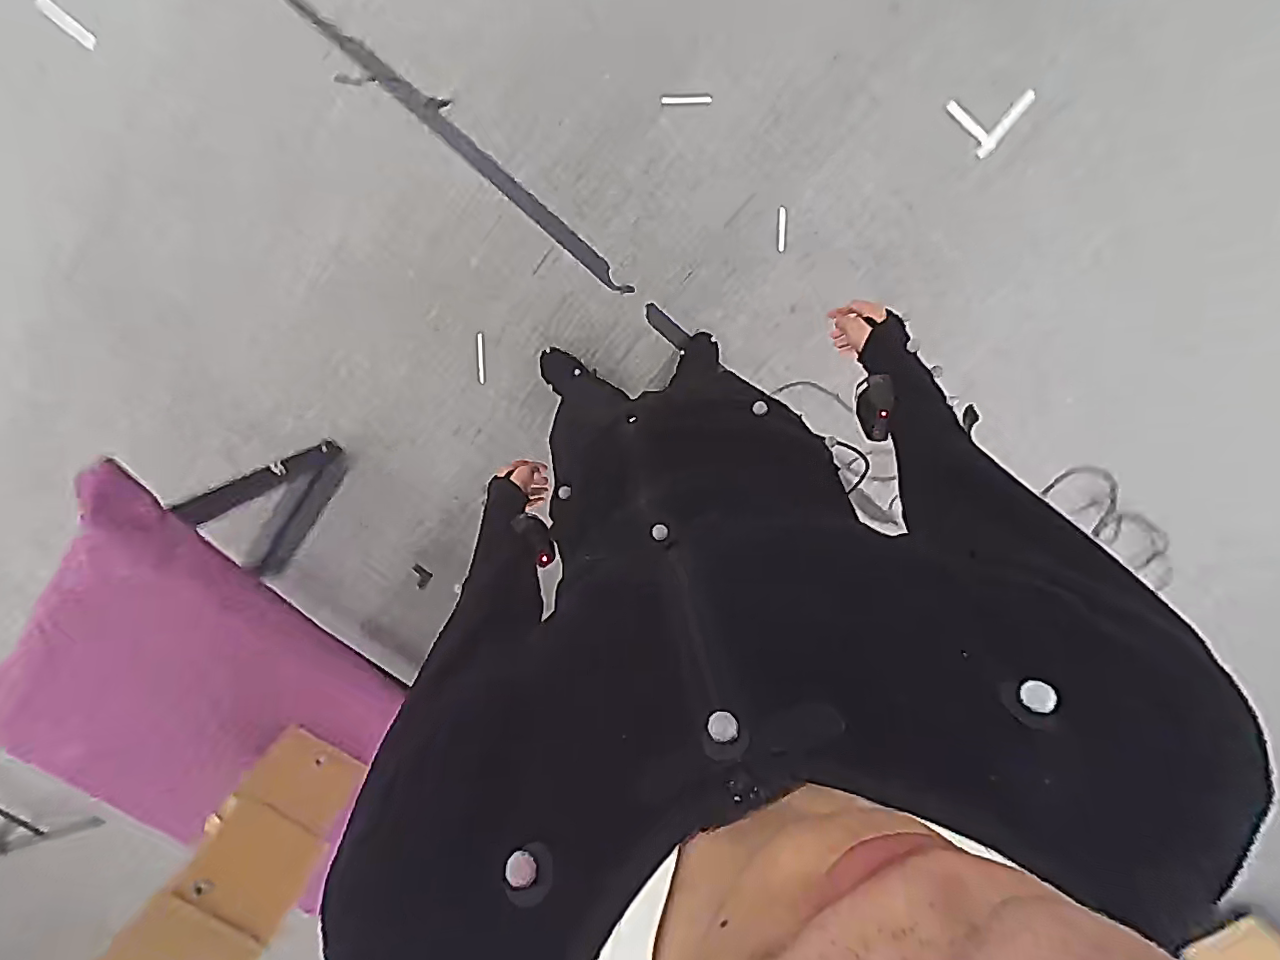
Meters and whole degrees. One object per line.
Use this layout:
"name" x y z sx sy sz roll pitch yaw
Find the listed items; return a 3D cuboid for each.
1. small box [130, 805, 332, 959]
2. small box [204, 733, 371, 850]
"small box" -0.650 0.678 0.882 0.179 0.176 0.168 36 107 -9
"small box" -0.664 0.623 1.036 0.179 0.176 0.168 36 107 -8
